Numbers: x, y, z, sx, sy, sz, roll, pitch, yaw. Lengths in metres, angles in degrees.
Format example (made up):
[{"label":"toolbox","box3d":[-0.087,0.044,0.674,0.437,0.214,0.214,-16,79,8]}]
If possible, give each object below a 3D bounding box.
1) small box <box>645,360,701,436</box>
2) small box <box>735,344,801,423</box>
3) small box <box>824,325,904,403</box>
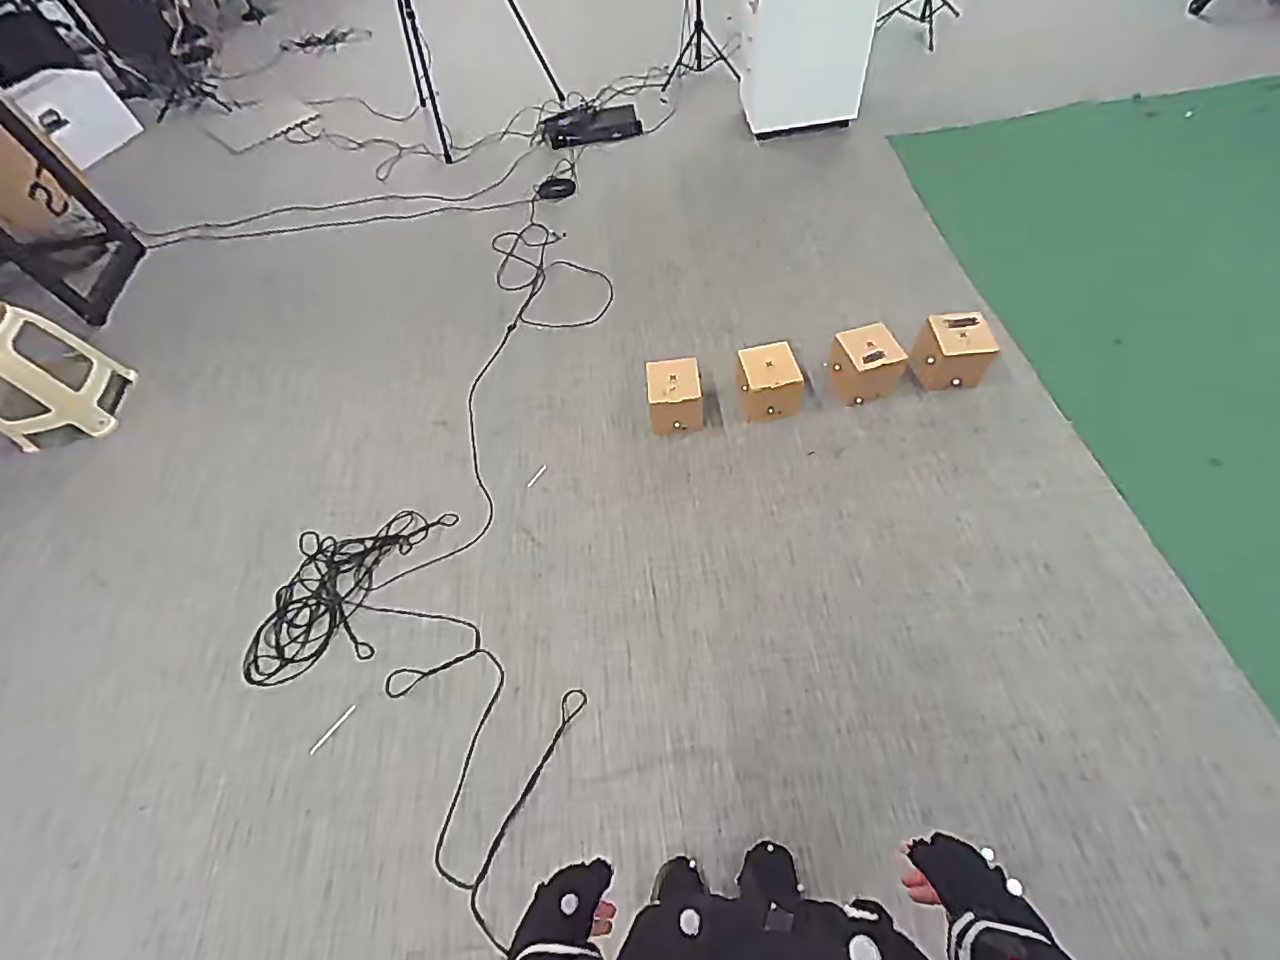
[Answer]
[{"label":"small box","box3d":[0.109,-0.268,1.780,0.168,0.176,0.179,-6,57,5]},{"label":"small box","box3d":[0.411,-0.313,1.770,0.168,0.176,0.179,-12,58,1]},{"label":"small box","box3d":[0.724,-0.371,1.765,0.168,0.176,0.179,-15,57,-3]}]
